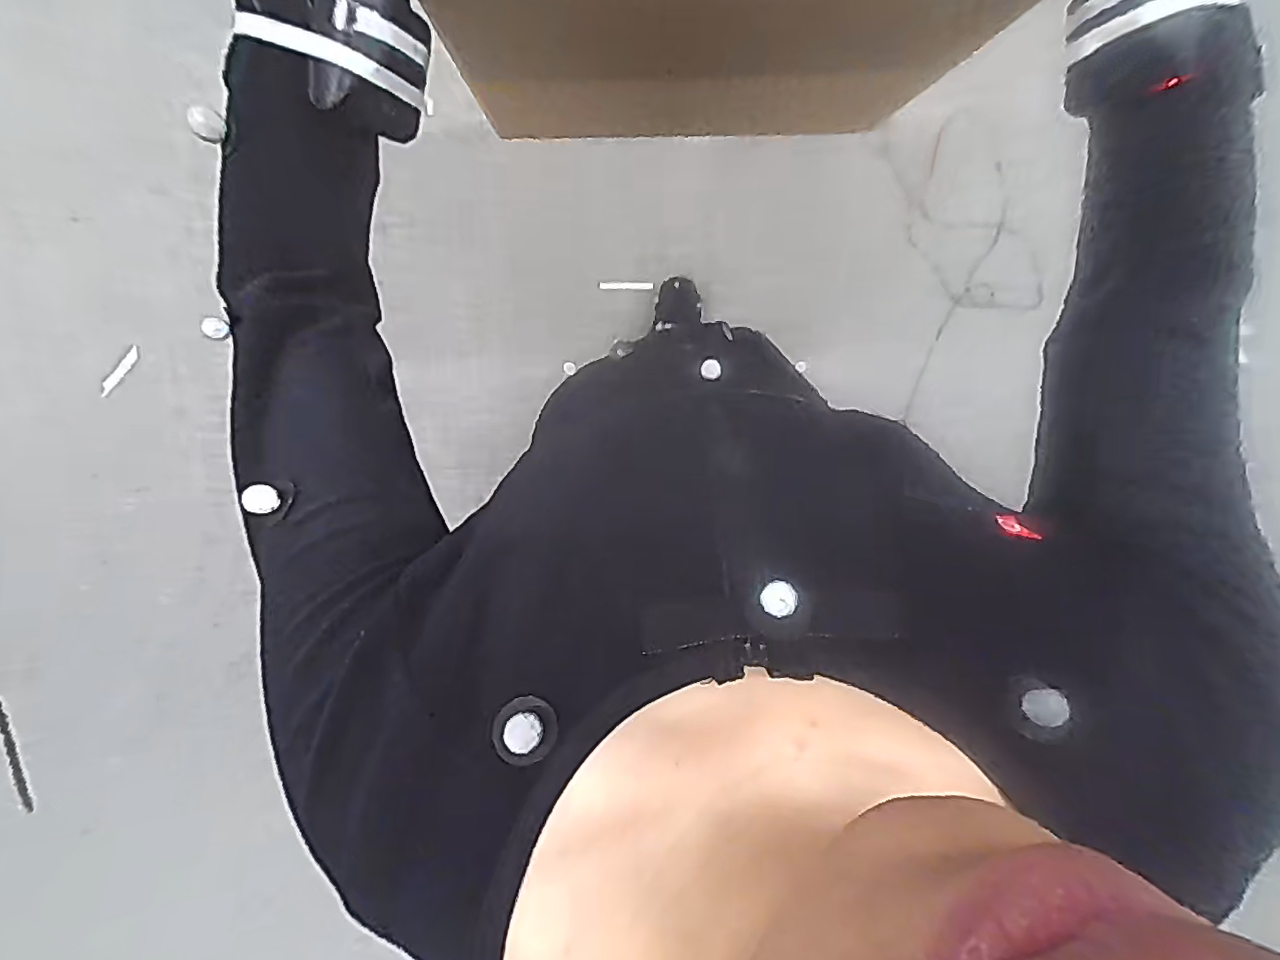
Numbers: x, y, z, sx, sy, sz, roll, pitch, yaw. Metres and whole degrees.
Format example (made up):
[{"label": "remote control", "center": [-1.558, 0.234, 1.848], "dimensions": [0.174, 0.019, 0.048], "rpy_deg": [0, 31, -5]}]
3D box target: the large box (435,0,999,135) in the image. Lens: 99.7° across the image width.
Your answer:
[{"label": "large box", "center": [0.049, -0.485, 0.398], "dimensions": [0.408, 0.320, 0.320], "rpy_deg": [-3, 105, -3]}]
